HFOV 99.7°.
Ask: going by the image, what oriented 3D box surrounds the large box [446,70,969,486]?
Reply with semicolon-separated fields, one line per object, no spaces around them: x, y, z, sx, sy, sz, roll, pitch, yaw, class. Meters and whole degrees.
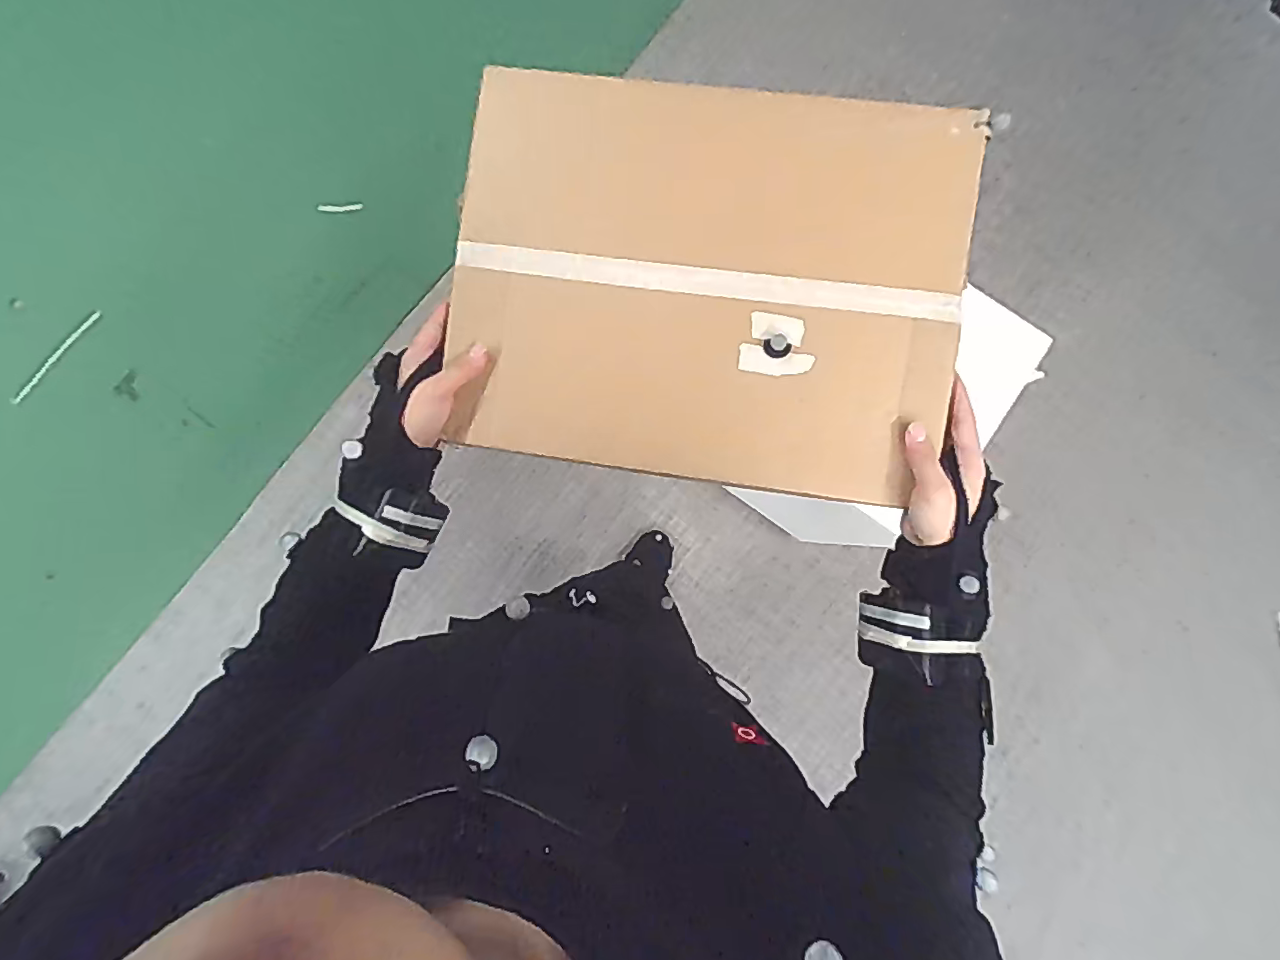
0.056;-0.169;0.589;0.408;0.320;0.320;7;92;3;large box
